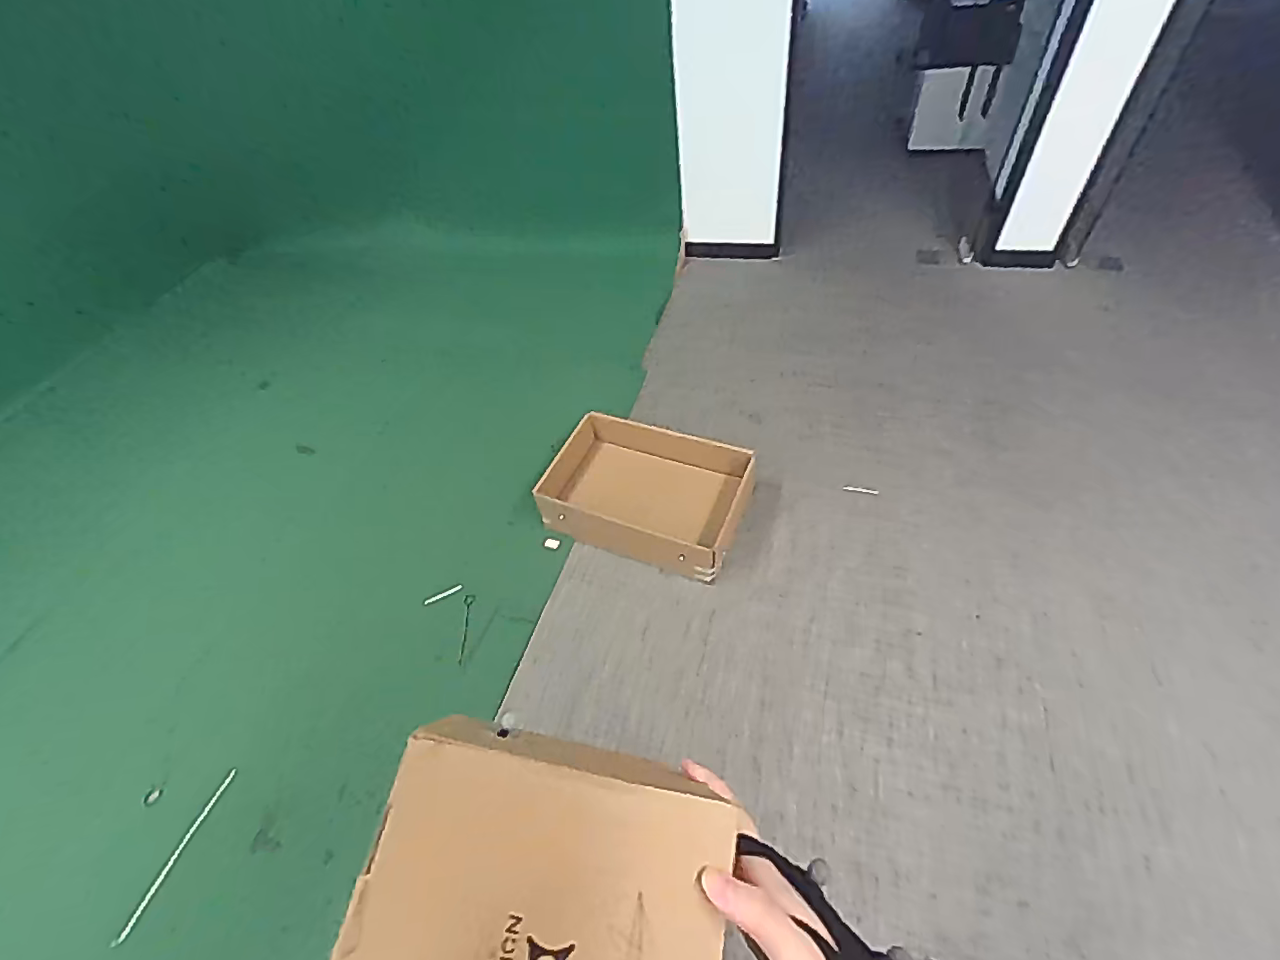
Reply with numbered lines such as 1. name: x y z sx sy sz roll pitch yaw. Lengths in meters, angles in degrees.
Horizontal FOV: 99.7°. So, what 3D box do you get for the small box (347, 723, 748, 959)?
1. small box: -0.059 0.252 0.323 0.179 0.176 0.168 17 67 -6
